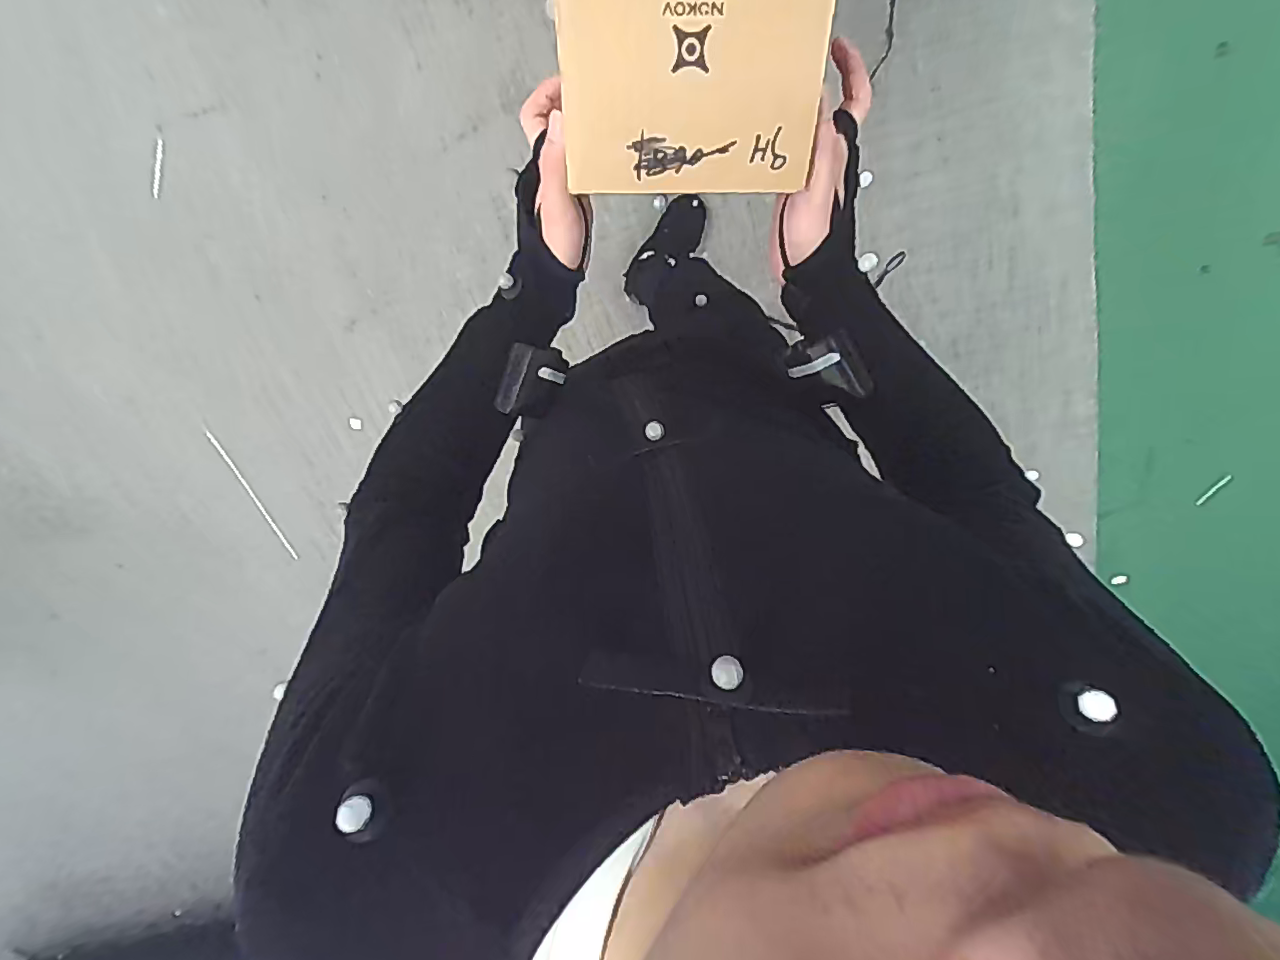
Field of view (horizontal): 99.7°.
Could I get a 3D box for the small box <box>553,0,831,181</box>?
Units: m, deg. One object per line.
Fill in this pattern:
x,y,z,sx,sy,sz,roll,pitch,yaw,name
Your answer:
0.030,-0.321,0.383,0.168,0.176,0.179,0,126,1,small box
